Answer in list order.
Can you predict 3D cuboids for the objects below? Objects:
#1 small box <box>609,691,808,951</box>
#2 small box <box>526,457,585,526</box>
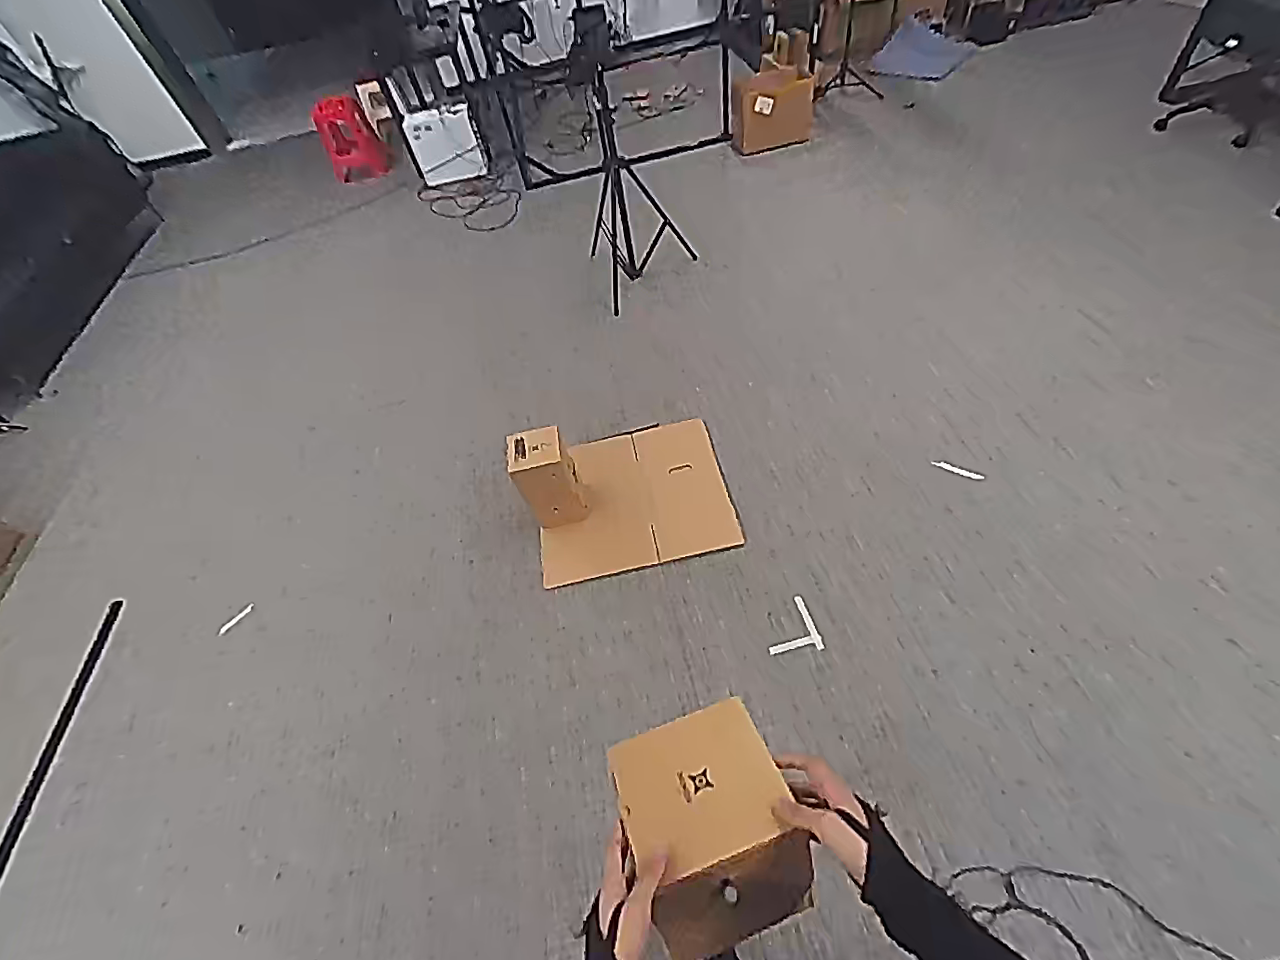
[{"bbox_3d":[0.080,0.391,0.630,0.179,0.176,0.168,-20,29,-7],"label":"small box"},{"bbox_3d":[-0.301,0.045,1.952,0.179,0.176,0.168,-14,52,1],"label":"small box"}]
